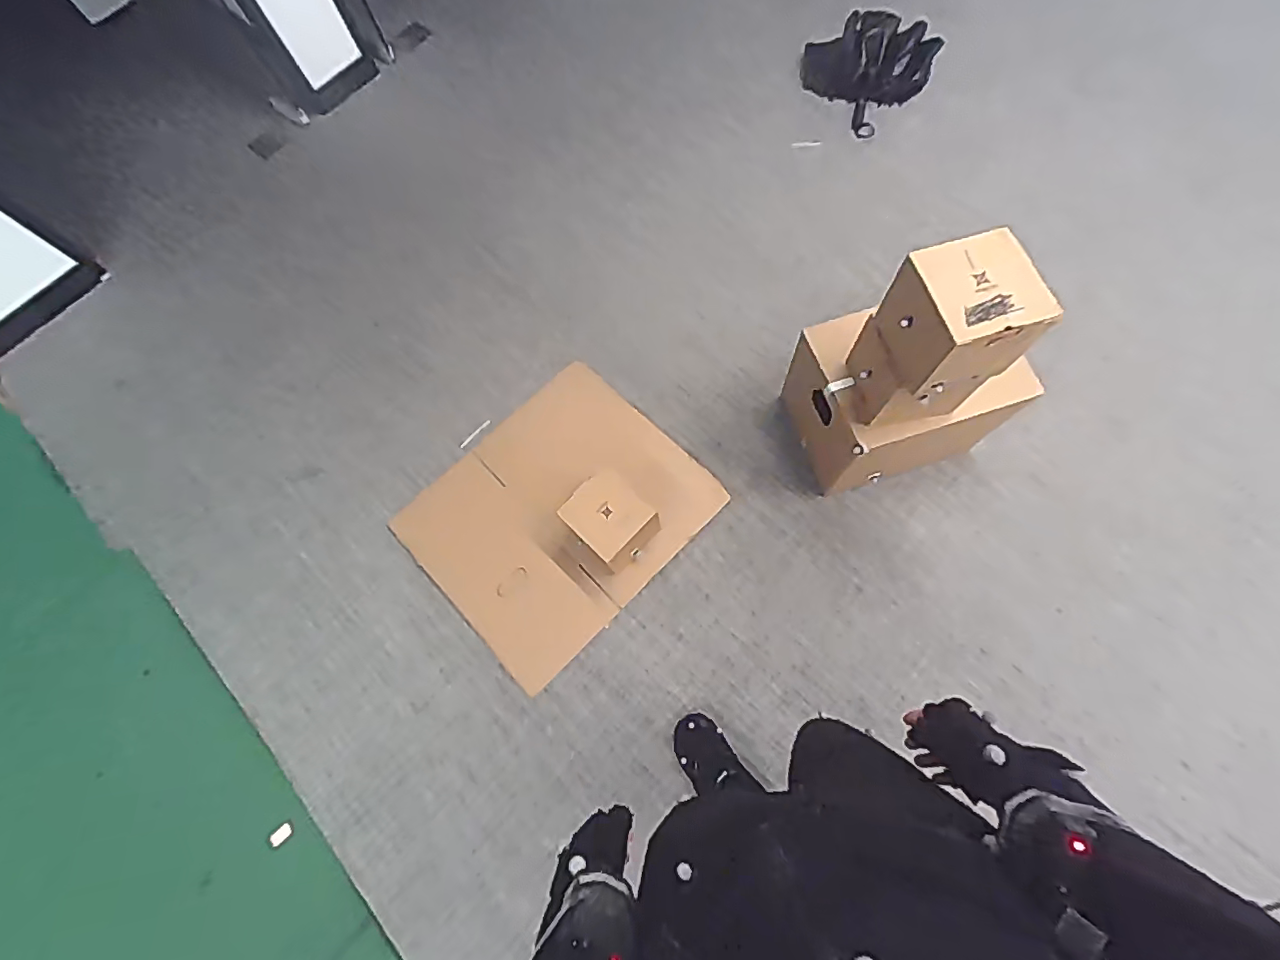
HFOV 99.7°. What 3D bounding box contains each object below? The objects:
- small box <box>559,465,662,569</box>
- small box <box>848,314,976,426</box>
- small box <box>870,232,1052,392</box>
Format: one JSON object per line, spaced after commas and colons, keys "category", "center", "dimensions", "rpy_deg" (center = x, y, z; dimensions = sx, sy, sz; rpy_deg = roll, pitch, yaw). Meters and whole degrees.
{"category": "small box", "center": [-0.064, 0.098, 1.313], "dimensions": [0.179, 0.176, 0.168], "rpy_deg": [41, 81, 16]}
{"category": "small box", "center": [0.528, -0.224, 1.062], "dimensions": [0.179, 0.176, 0.168], "rpy_deg": [-13, 69, 0]}
{"category": "small box", "center": [0.516, -0.265, 0.900], "dimensions": [0.168, 0.176, 0.179], "rpy_deg": [-18, 72, -1]}
